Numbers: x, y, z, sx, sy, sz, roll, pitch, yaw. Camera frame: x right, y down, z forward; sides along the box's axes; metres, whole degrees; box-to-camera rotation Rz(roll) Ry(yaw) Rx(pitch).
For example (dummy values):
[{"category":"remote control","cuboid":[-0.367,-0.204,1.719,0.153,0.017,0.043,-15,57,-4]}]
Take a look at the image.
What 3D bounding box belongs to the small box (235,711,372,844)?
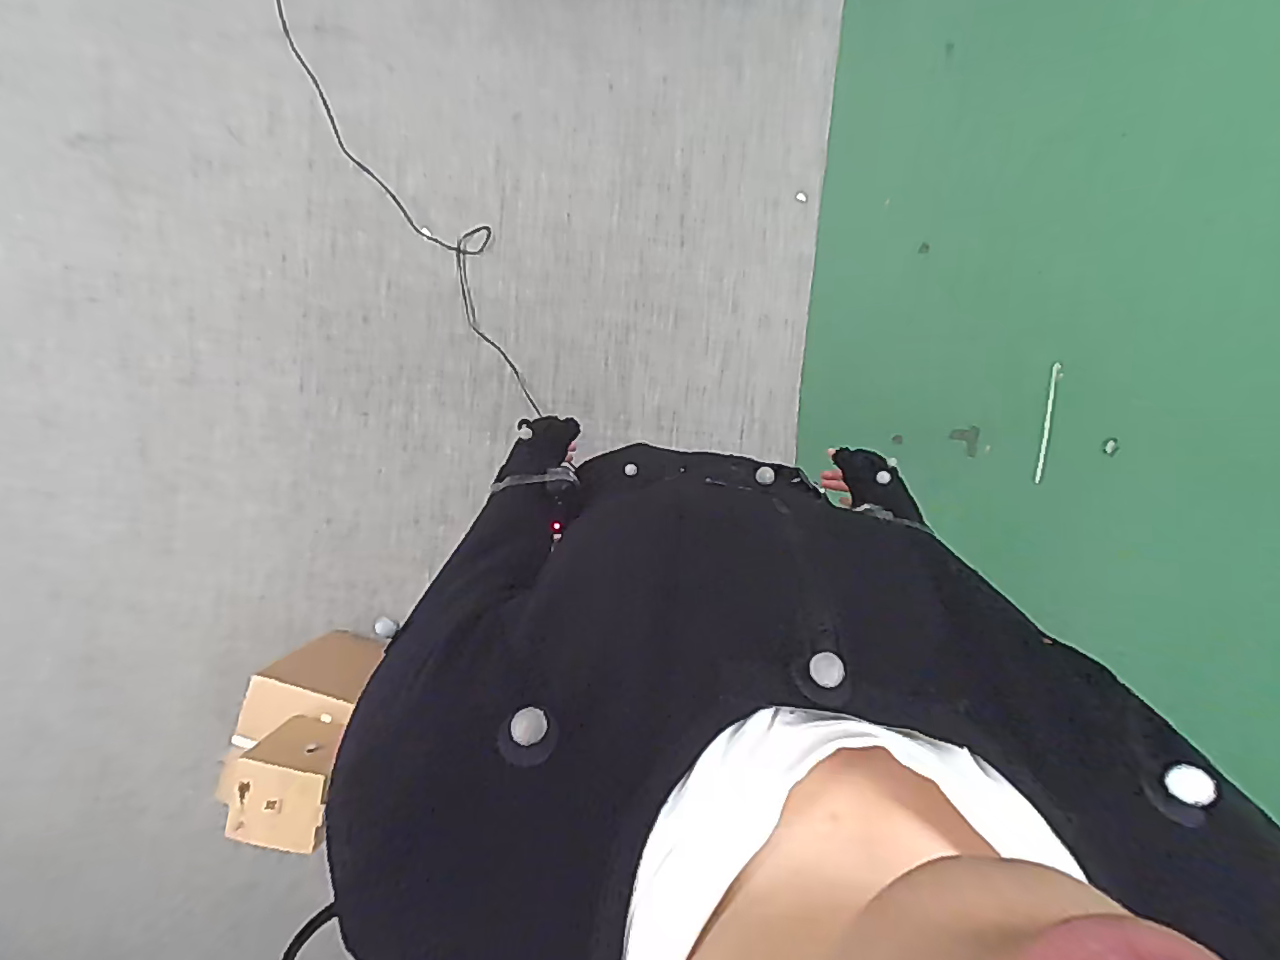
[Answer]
[{"category":"small box","cuboid":[-0.691,0.611,1.130,0.179,0.176,0.168,12,94,-1]}]
